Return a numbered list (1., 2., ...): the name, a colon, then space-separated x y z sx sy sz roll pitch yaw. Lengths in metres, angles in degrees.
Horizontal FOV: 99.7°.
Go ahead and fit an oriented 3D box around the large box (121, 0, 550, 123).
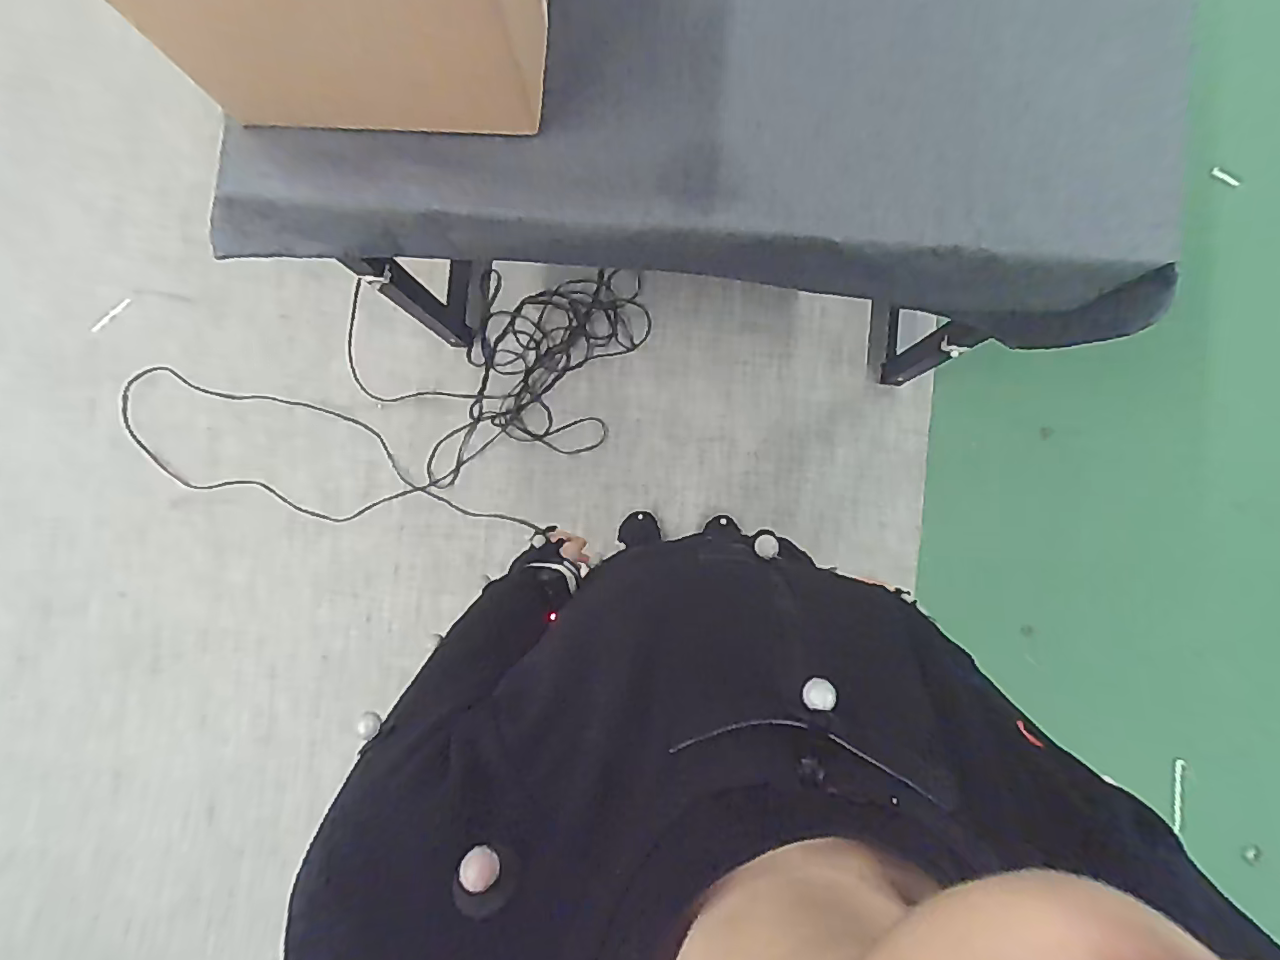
1. large box: -0.317 -0.619 0.556 0.408 0.320 0.320 3 88 1
